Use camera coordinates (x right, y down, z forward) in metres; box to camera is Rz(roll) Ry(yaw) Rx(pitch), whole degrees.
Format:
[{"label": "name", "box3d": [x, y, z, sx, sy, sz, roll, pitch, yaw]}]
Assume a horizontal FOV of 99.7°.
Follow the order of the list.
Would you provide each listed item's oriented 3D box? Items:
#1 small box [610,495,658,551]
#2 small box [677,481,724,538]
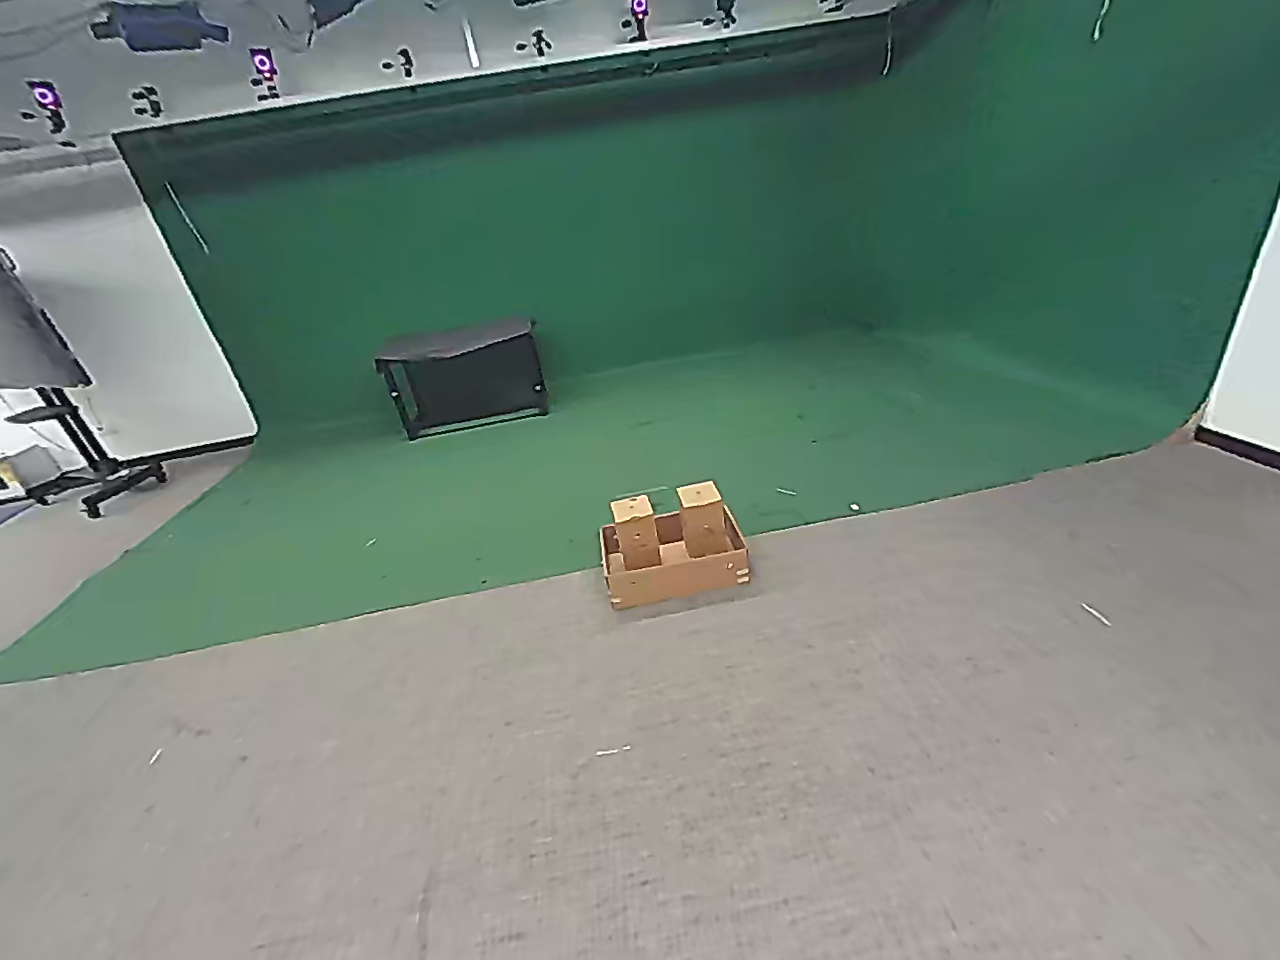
[{"label": "small box", "box3d": [-0.025, 0.192, 2.350, 0.168, 0.176, 0.179, -12, 29, -5]}, {"label": "small box", "box3d": [0.265, 0.130, 2.372, 0.168, 0.176, 0.179, -12, 30, -2]}]
